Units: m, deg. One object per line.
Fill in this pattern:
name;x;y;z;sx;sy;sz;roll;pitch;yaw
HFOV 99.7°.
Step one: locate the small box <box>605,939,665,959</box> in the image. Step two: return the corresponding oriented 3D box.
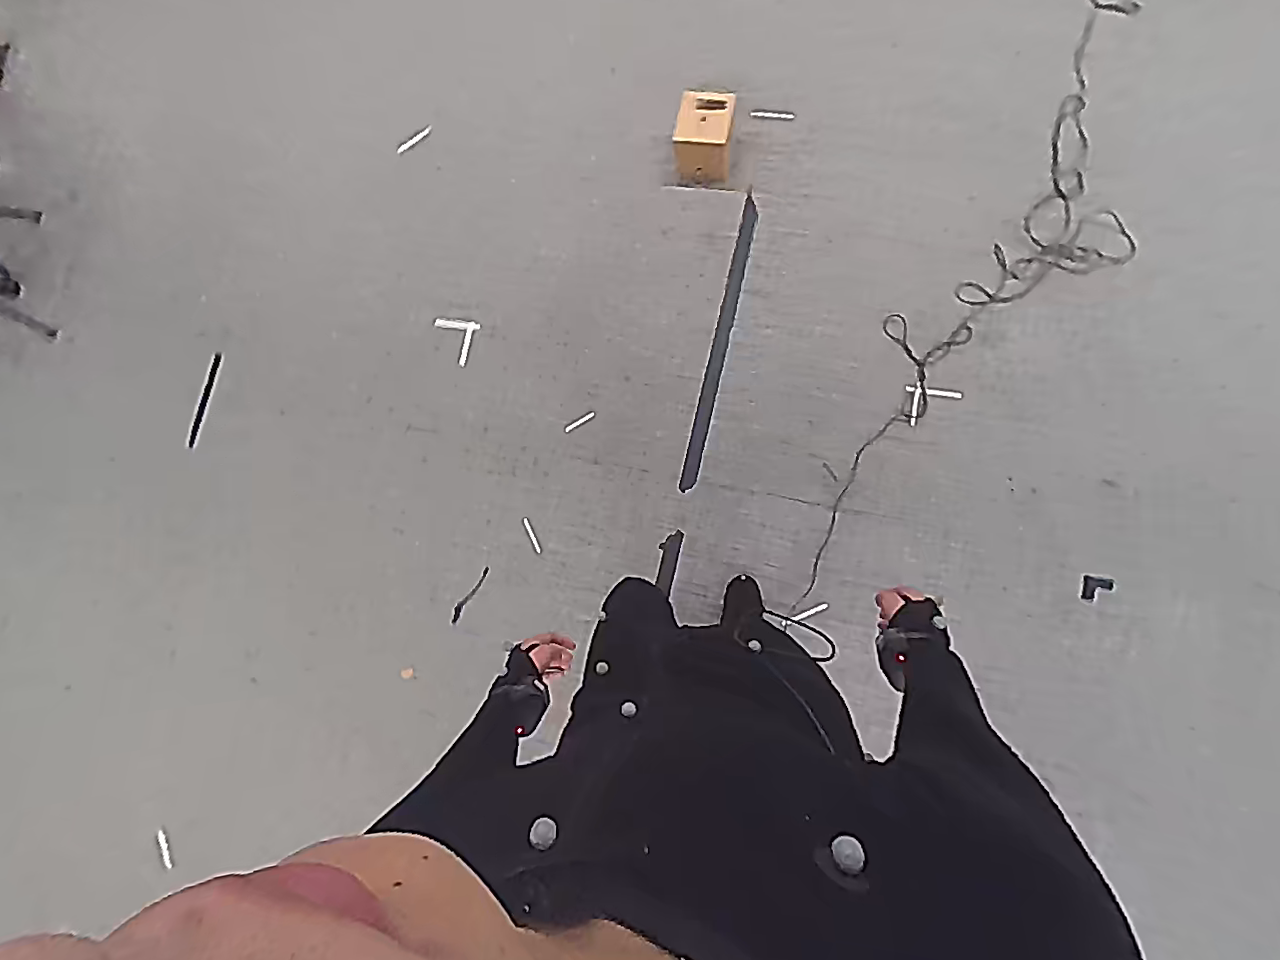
small box;-0.028;1.336;1.372;0.168;0.176;0.179;10;82;10
